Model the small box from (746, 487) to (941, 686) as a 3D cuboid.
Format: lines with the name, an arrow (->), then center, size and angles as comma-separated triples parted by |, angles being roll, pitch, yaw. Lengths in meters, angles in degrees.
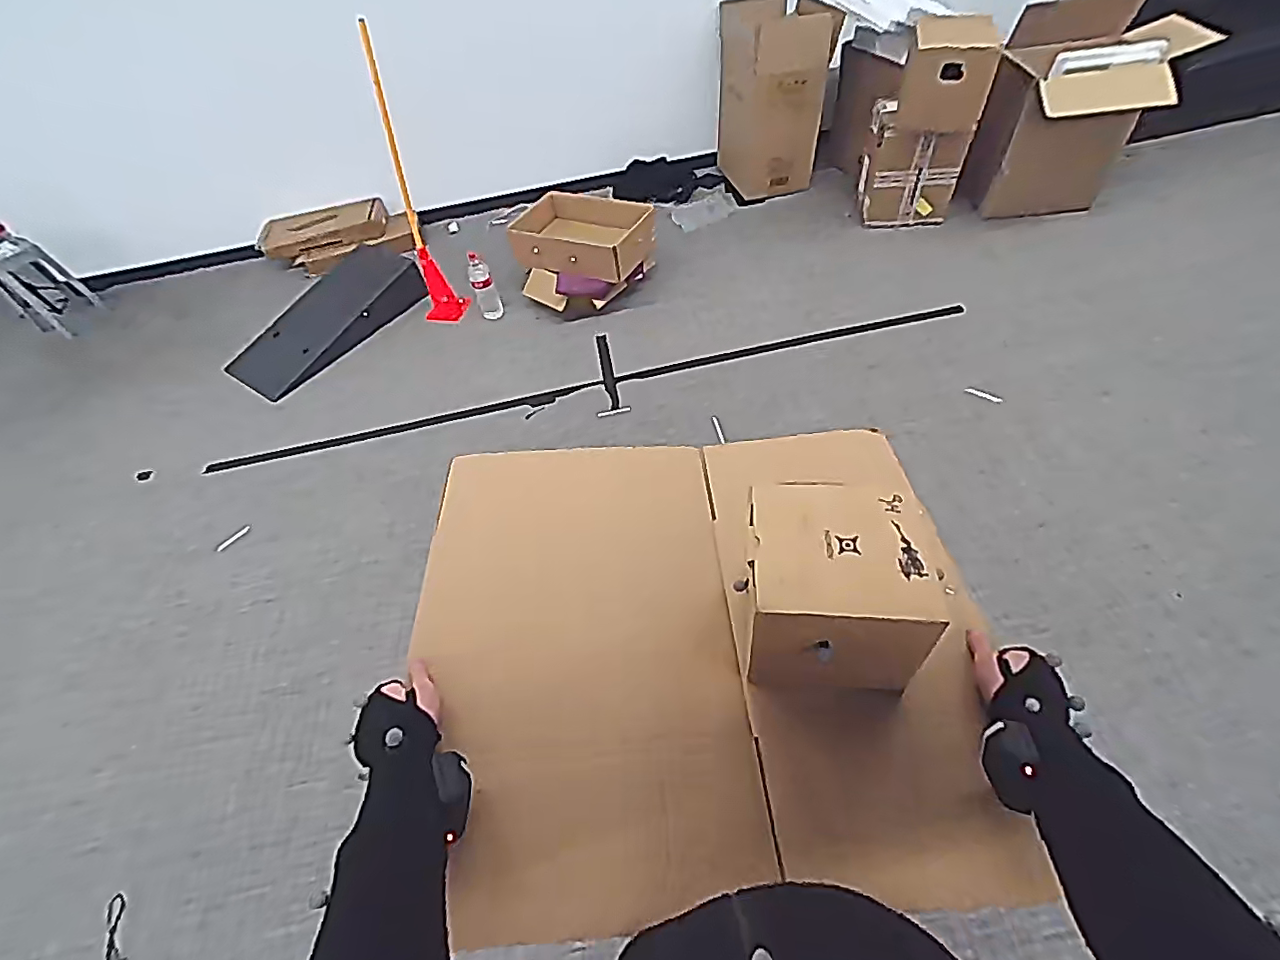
small box -> 0.212, 0.124, 0.620 | 0.179, 0.176, 0.168 | 0, 49, 9
